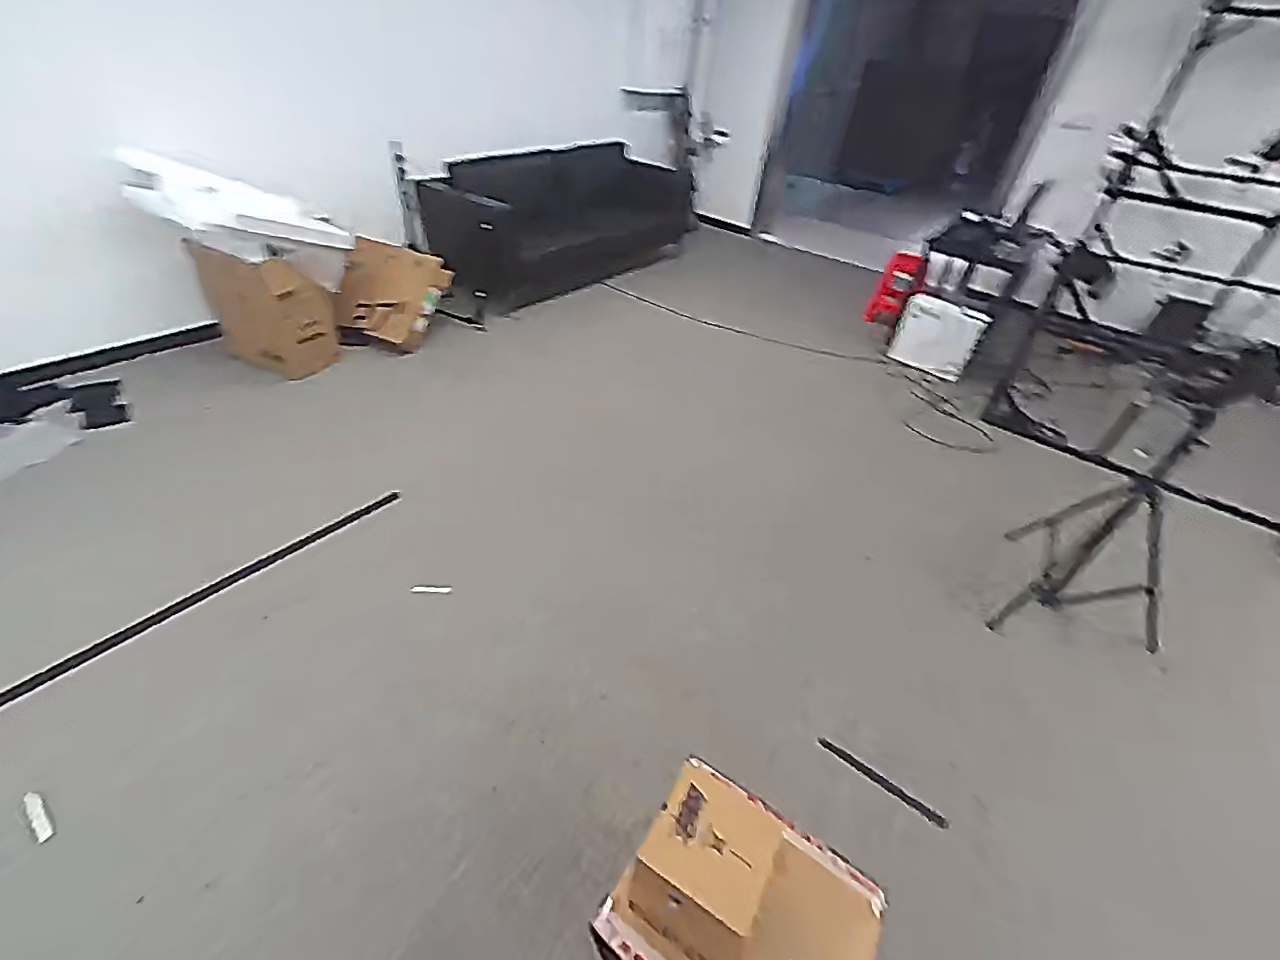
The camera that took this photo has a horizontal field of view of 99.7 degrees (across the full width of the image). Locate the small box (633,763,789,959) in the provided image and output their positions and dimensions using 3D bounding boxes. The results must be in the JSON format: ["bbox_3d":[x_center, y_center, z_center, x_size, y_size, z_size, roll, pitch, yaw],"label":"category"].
[{"bbox_3d":[0.103,0.593,0.839,0.179,0.176,0.168,24,40,22],"label":"small box"}]
